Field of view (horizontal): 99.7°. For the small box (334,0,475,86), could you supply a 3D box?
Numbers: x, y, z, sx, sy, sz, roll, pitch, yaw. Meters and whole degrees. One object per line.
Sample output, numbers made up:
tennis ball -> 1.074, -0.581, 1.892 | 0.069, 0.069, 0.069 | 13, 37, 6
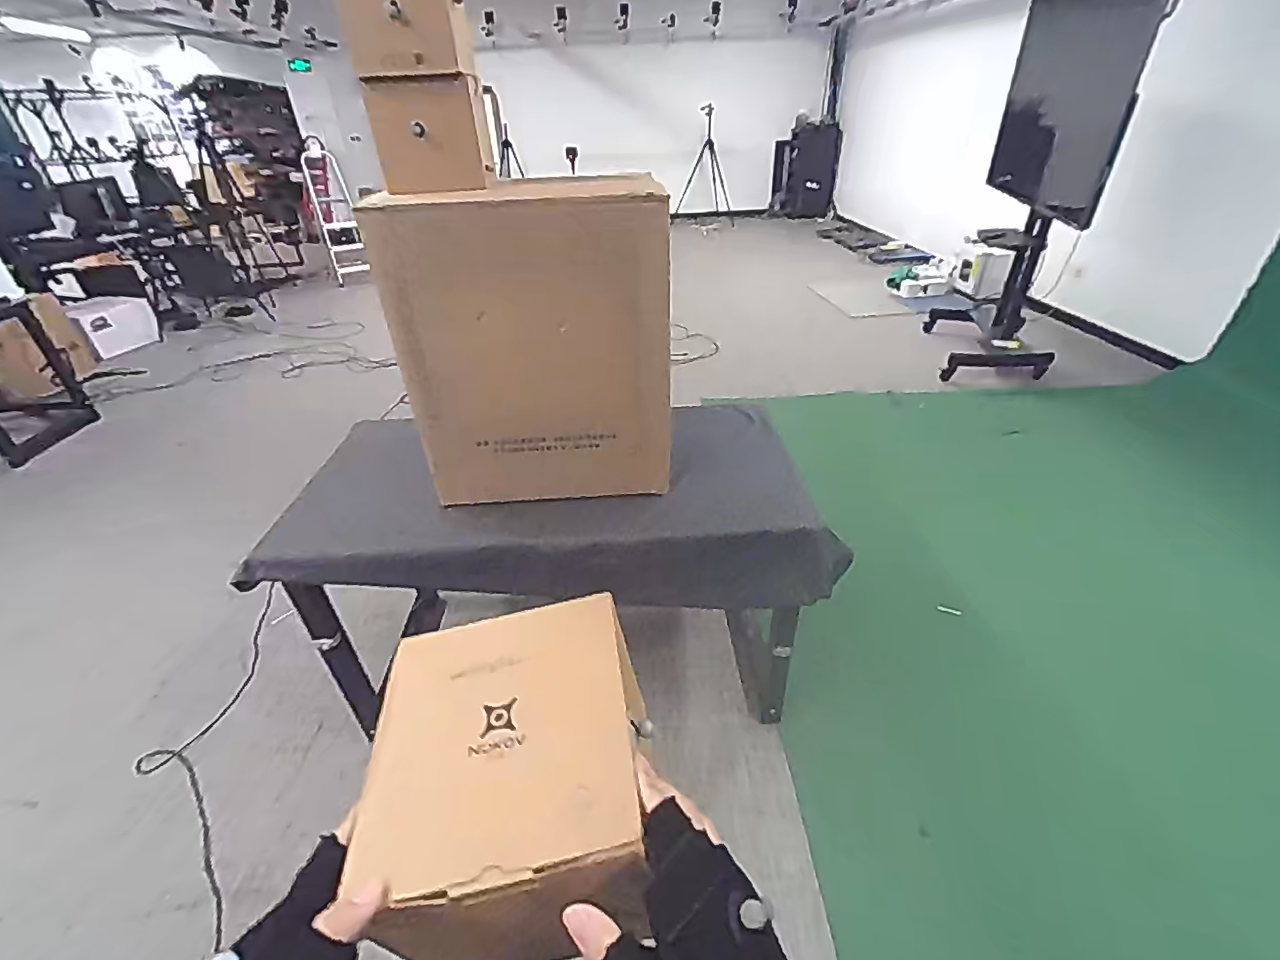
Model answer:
small box -> -0.377, -0.744, 0.879 | 0.168, 0.176, 0.179 | -6, 36, -3

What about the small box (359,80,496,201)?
small box -> -0.369, -0.617, 0.982 | 0.179, 0.176, 0.168 | -6, 36, -2
